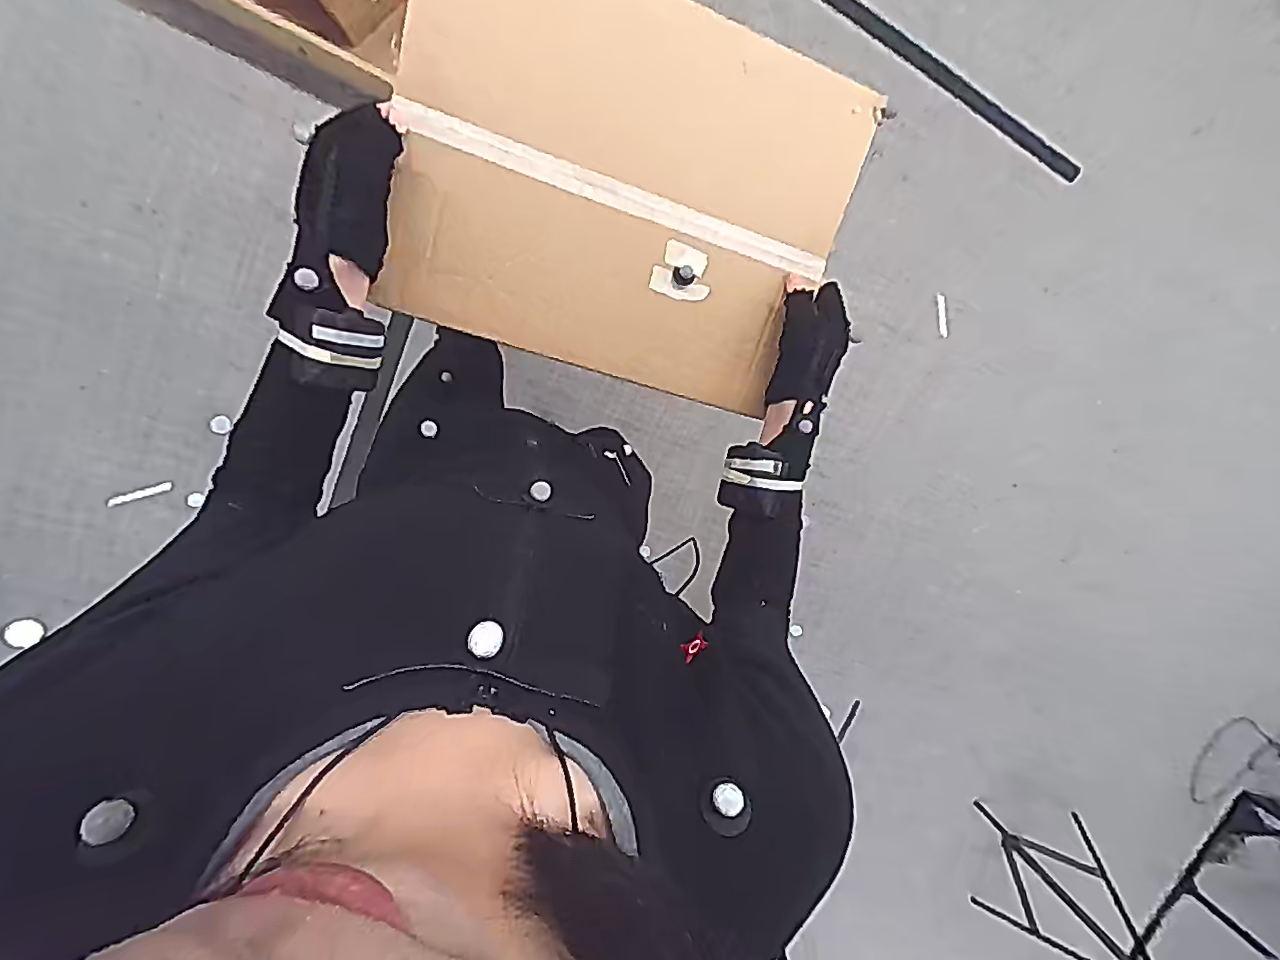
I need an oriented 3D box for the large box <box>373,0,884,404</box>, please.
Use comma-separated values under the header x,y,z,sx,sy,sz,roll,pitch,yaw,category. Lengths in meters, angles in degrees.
x,y,z,sx,sy,sz,roll,pitch,yaw,category
-0.033,-0.309,0.618,0.408,0.320,0.320,14,107,-15,large box
